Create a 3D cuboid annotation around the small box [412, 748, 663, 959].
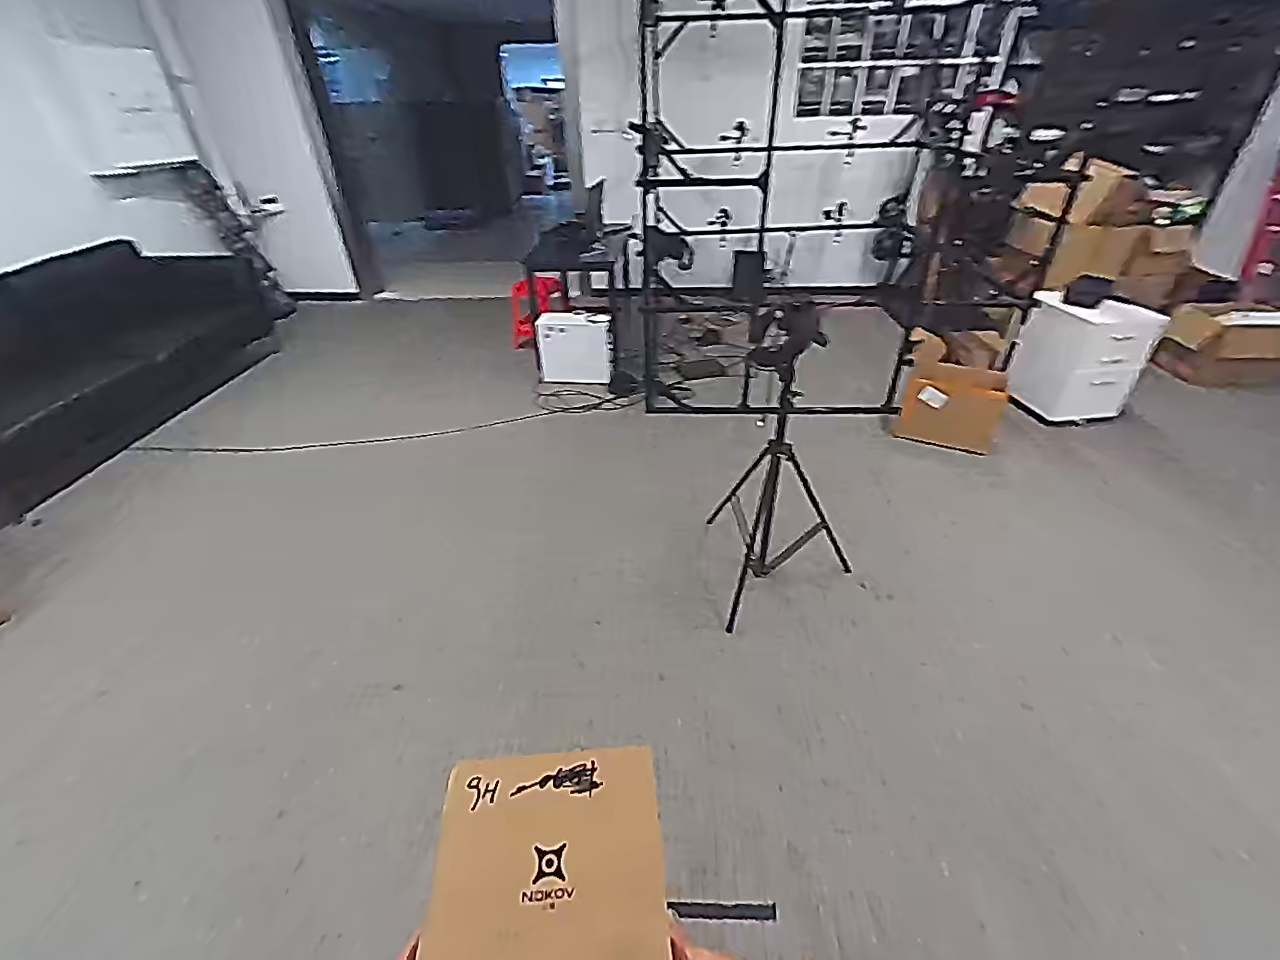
[{"bbox_3d":[-0.069,0.344,0.431,0.168,0.176,0.179,-3,40,-5],"label":"small box"}]
